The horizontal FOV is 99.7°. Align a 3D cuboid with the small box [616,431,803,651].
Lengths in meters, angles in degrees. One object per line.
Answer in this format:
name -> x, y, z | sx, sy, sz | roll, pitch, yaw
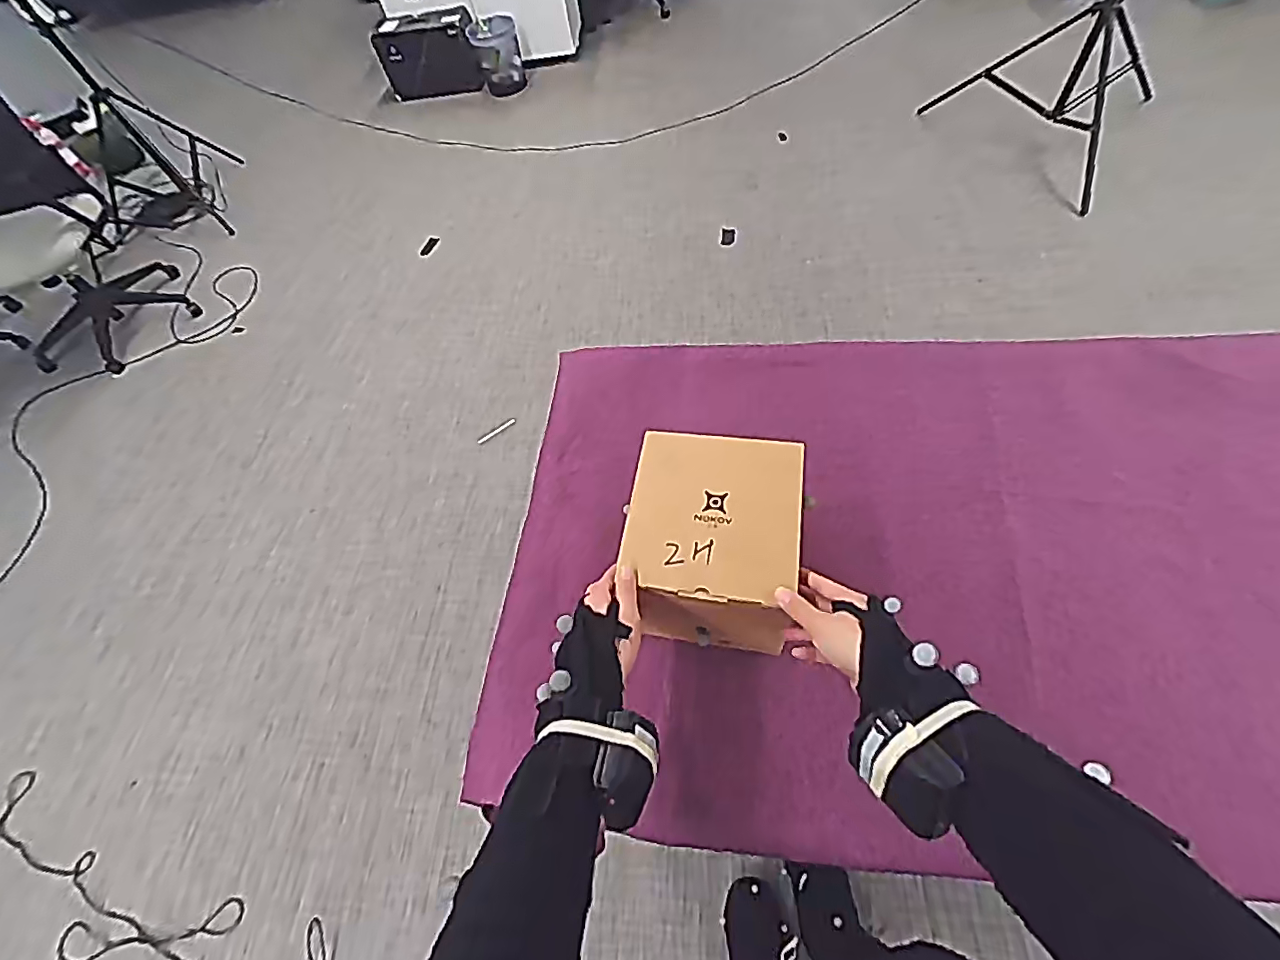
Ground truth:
small box -> 0.081, 0.070, 0.595 | 0.168, 0.176, 0.179 | 5, 60, 12
